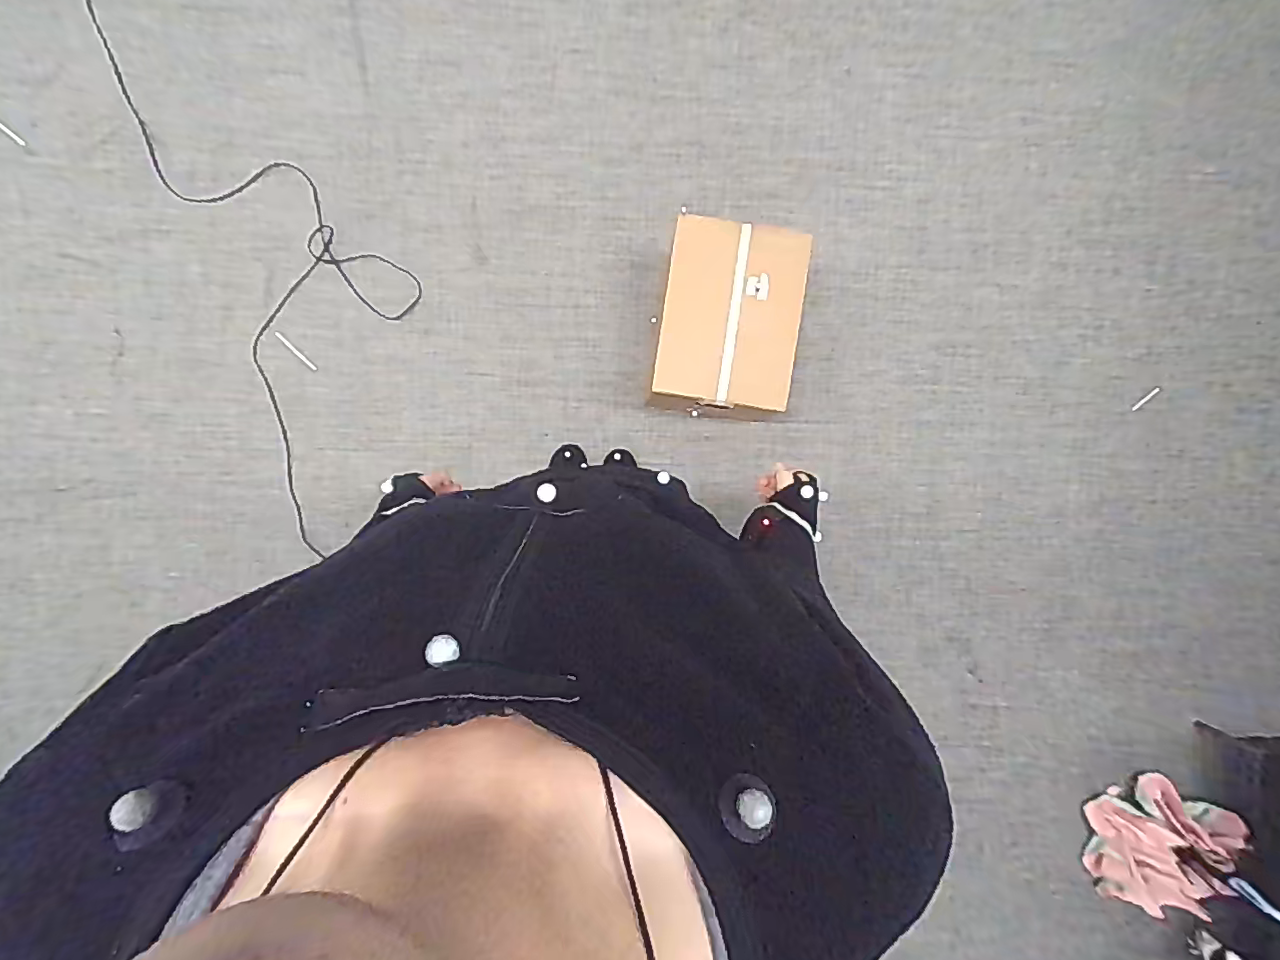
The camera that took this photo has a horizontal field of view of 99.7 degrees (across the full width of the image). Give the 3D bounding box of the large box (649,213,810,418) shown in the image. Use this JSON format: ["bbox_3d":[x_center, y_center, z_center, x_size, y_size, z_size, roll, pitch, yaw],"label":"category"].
[{"bbox_3d":[0.204,-0.384,1.366,0.320,0.320,0.408,9,91,-3],"label":"large box"}]
